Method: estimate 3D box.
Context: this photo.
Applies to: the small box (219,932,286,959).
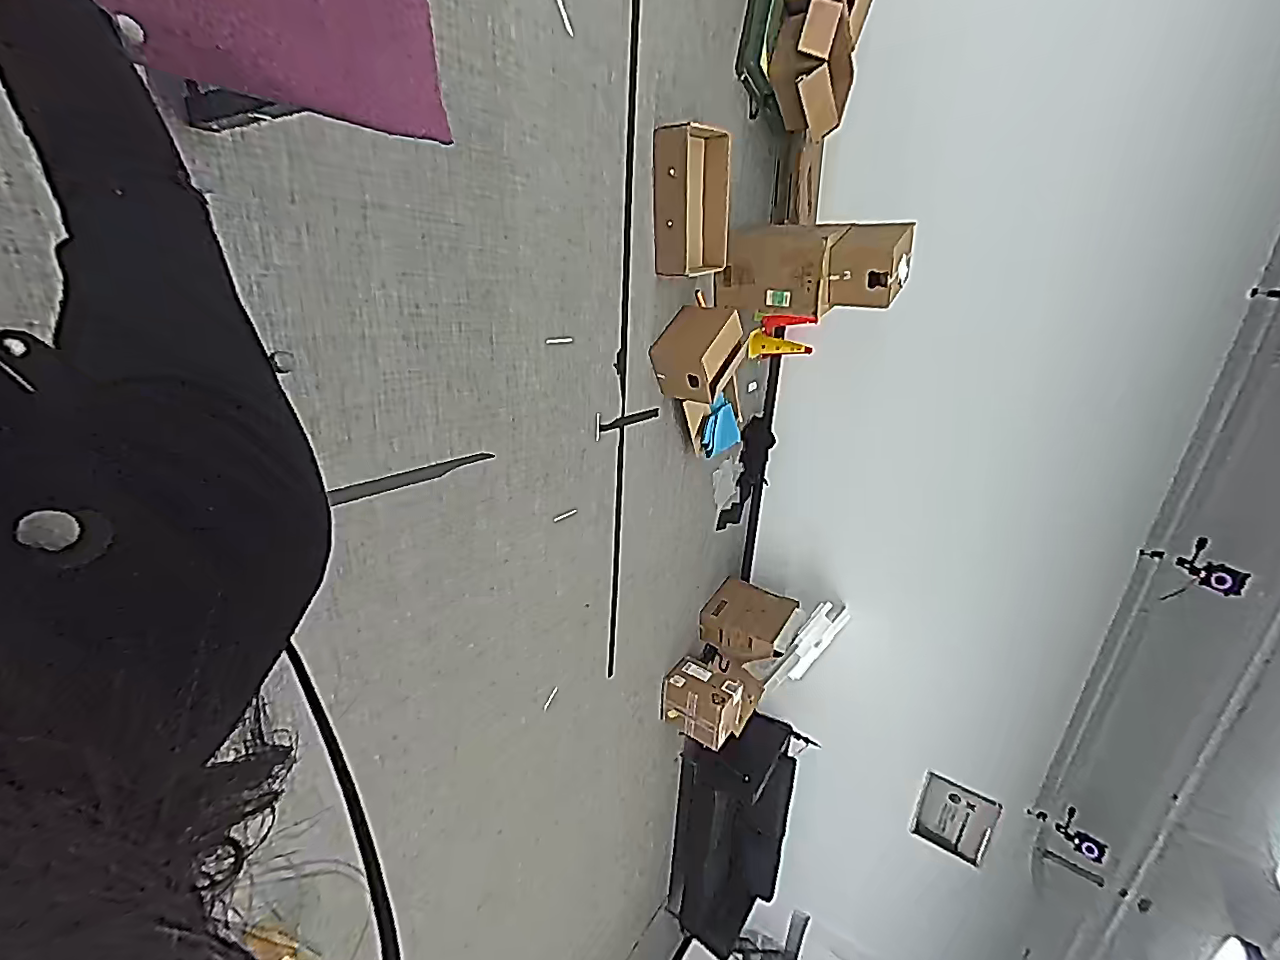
[{"bbox_3d":[-1.203,1.547,1.662,0.168,0.176,0.179,-45,138,-39],"label":"small box"}]
